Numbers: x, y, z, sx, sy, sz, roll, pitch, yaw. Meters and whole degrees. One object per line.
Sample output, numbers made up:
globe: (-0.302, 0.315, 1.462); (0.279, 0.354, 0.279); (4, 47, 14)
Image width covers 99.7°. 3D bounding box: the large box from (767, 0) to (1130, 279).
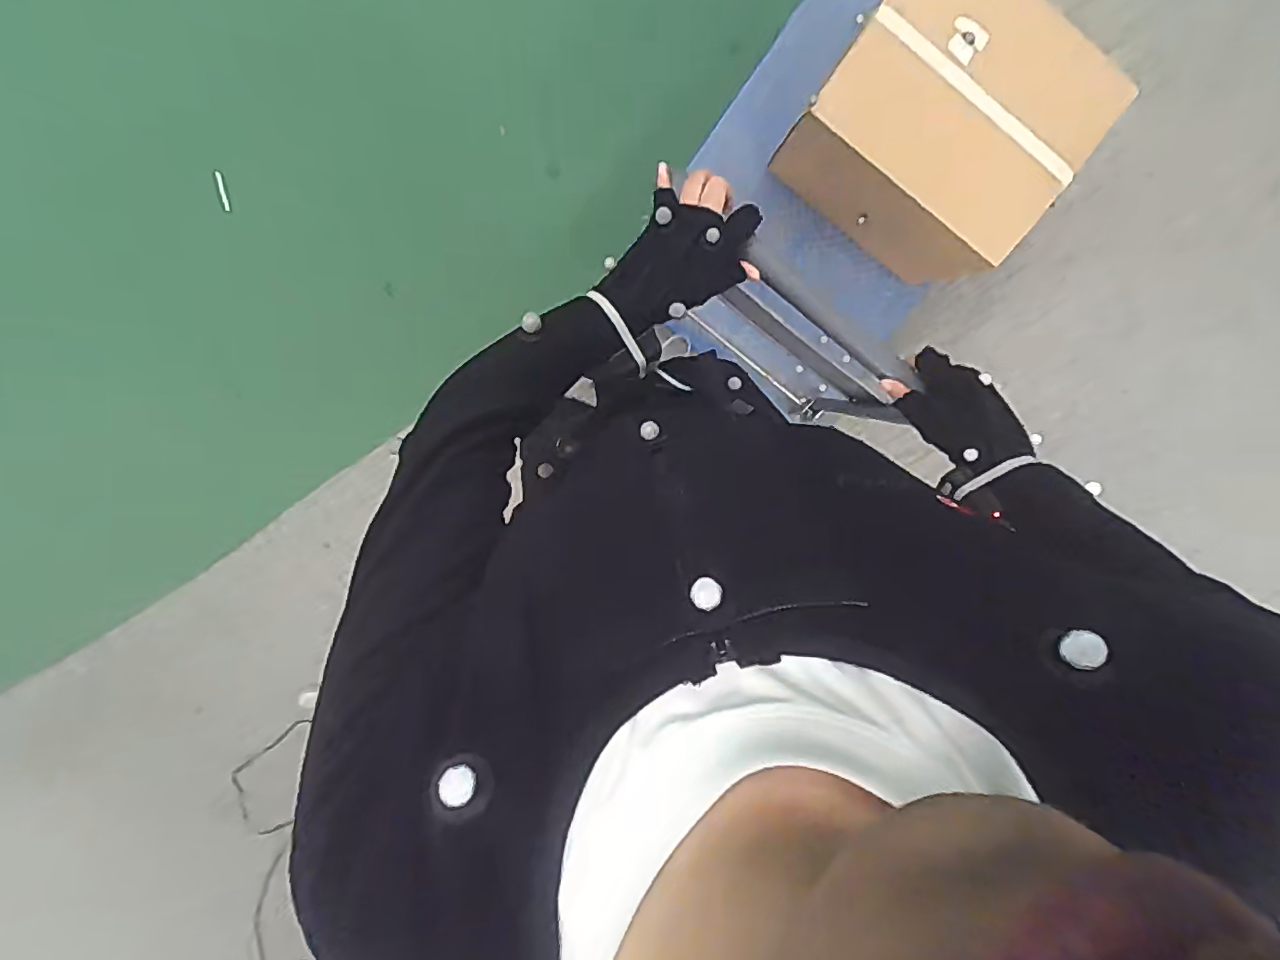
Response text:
large box: (0.503, -0.621, 0.973); (0.408, 0.320, 0.320); (35, 102, -7)
